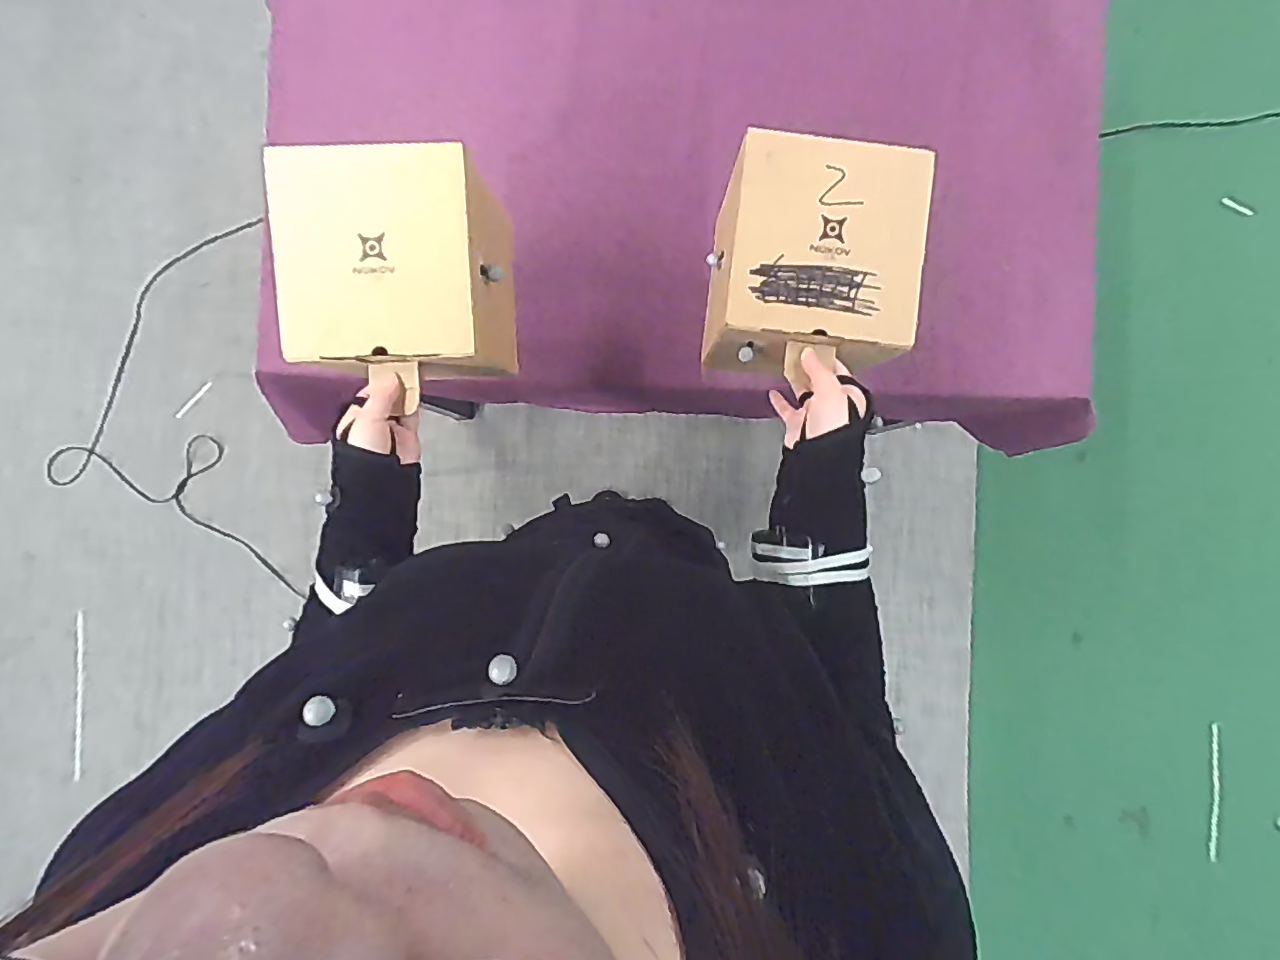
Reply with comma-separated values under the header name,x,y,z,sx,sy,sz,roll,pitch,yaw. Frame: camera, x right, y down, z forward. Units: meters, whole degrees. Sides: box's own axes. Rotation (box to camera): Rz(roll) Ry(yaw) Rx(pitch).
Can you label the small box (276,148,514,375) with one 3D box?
name,x,y,z,sx,sy,sz,roll,pitch,yaw
small box,-0.229,-0.204,0.549,0.168,0.176,0.179,-2,96,-1
